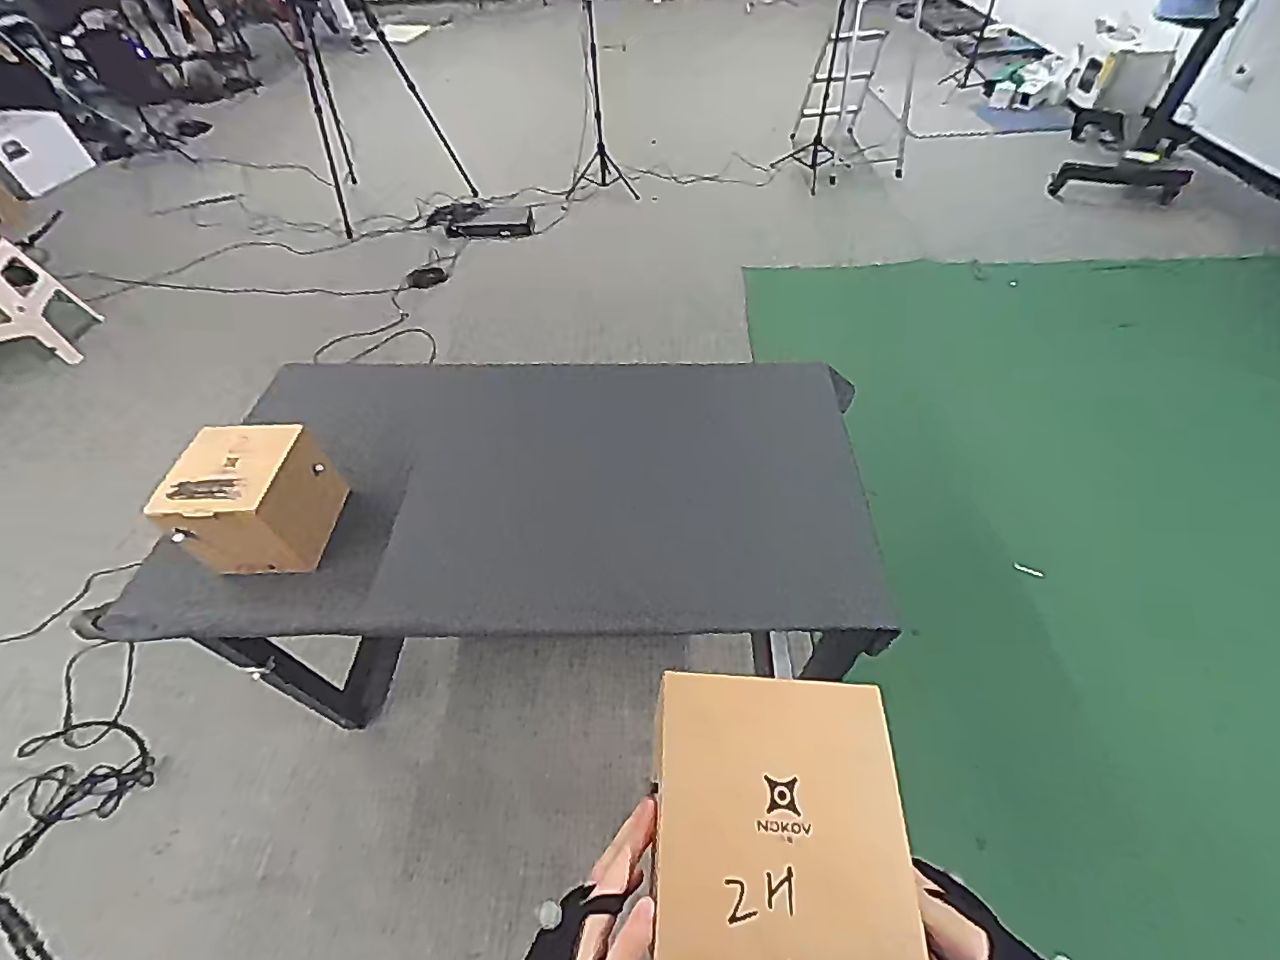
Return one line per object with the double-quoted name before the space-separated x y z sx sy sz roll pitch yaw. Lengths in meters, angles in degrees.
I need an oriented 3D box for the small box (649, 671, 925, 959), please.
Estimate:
"small box" 0.095 0.271 0.437 0.168 0.176 0.179 3 55 2
